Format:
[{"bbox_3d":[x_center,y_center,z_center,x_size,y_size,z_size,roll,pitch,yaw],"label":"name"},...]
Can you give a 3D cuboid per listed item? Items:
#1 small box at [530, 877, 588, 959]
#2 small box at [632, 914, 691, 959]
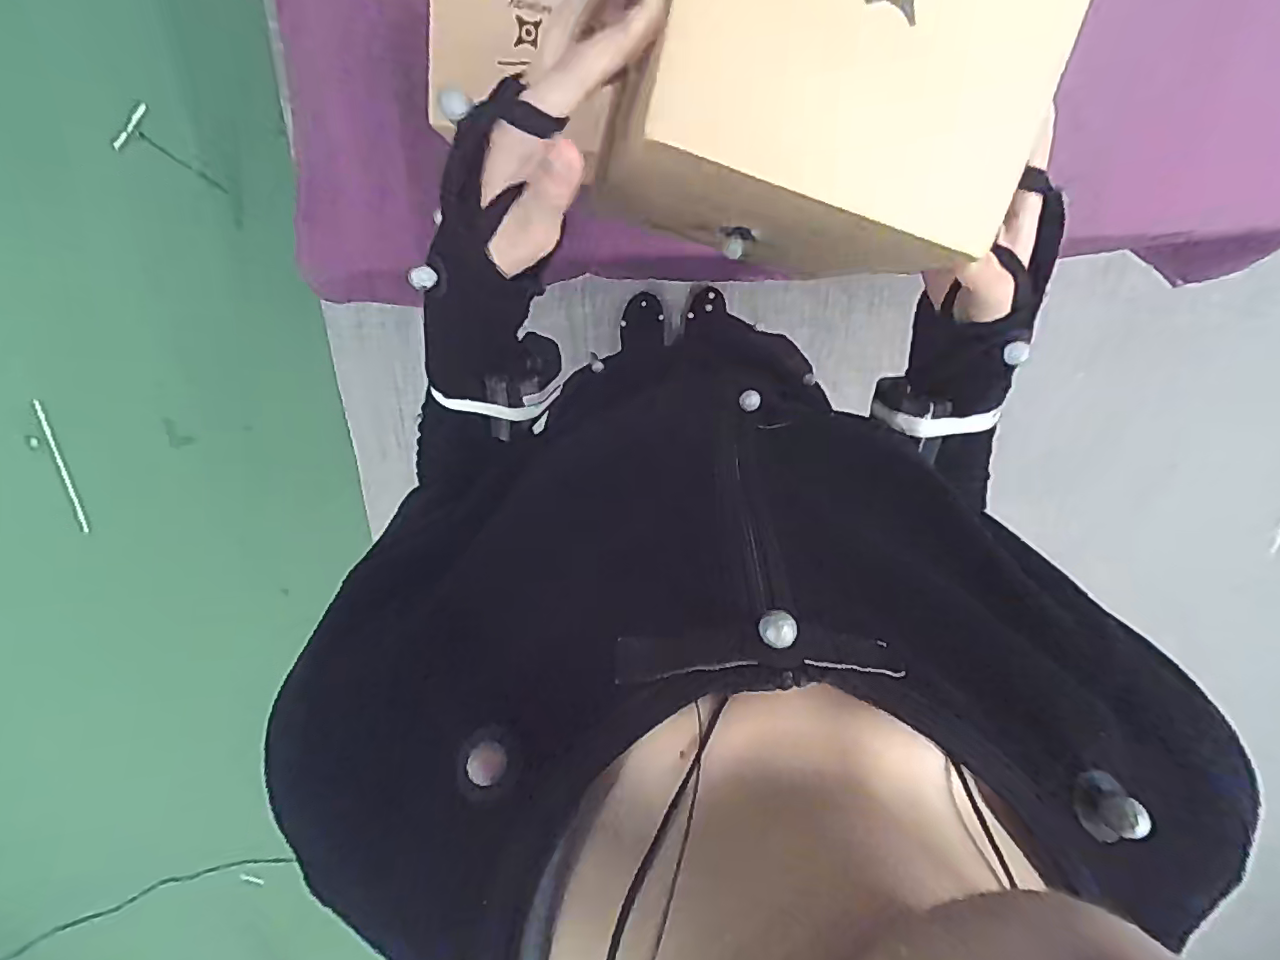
[{"bbox_3d":[-0.270,1.489,1.837,0.179,0.176,0.168,-3,107,-2],"label":"small box"},{"bbox_3d":[0.069,1.499,1.685,0.179,0.176,0.168,-4,105,0],"label":"small box"}]
